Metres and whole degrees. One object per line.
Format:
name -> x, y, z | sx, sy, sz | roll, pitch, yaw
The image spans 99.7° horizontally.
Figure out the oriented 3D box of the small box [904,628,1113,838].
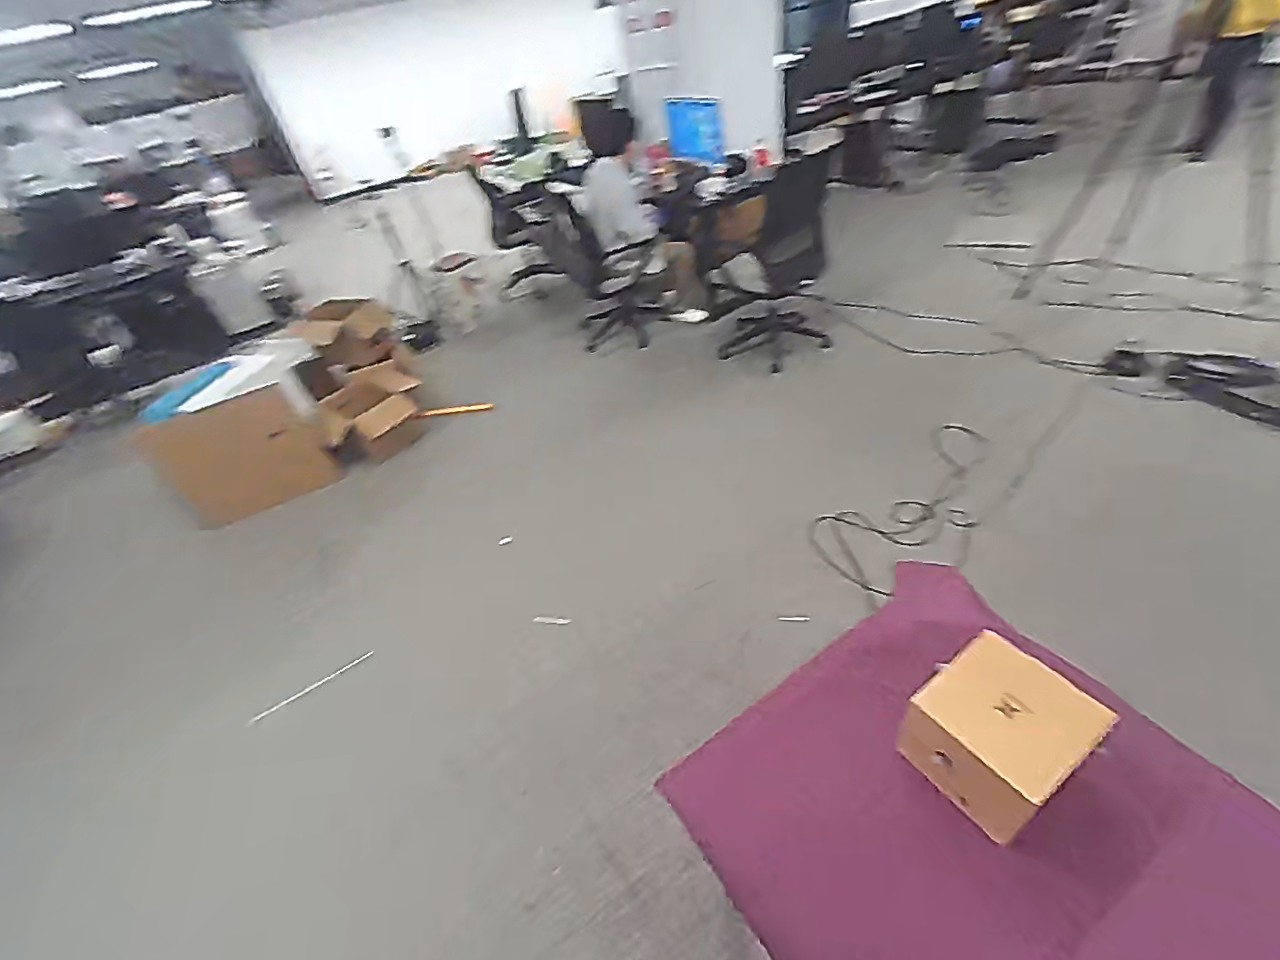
small box -> 0.497, 0.353, 0.757 | 0.179, 0.176, 0.168 | -29, 42, -19
